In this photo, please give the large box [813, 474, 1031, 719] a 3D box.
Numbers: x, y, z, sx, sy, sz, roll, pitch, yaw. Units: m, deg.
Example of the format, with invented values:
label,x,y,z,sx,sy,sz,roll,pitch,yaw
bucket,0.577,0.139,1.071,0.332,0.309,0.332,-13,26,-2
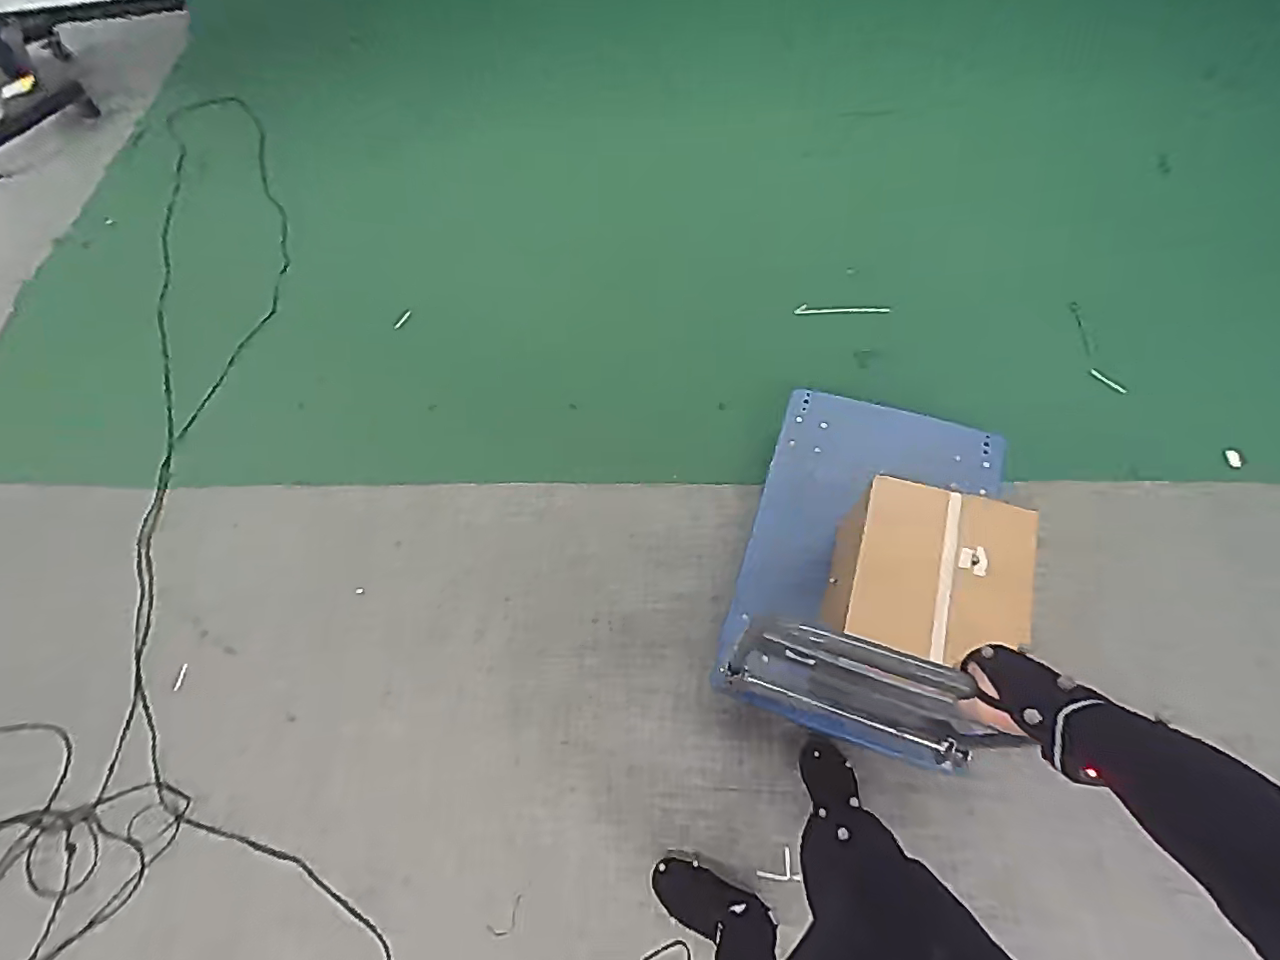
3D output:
label,x,y,z,sx,sy,sz,roll,pitch,yaw
large box,0.585,0.259,1.162,0.320,0.320,0.408,15,68,12
